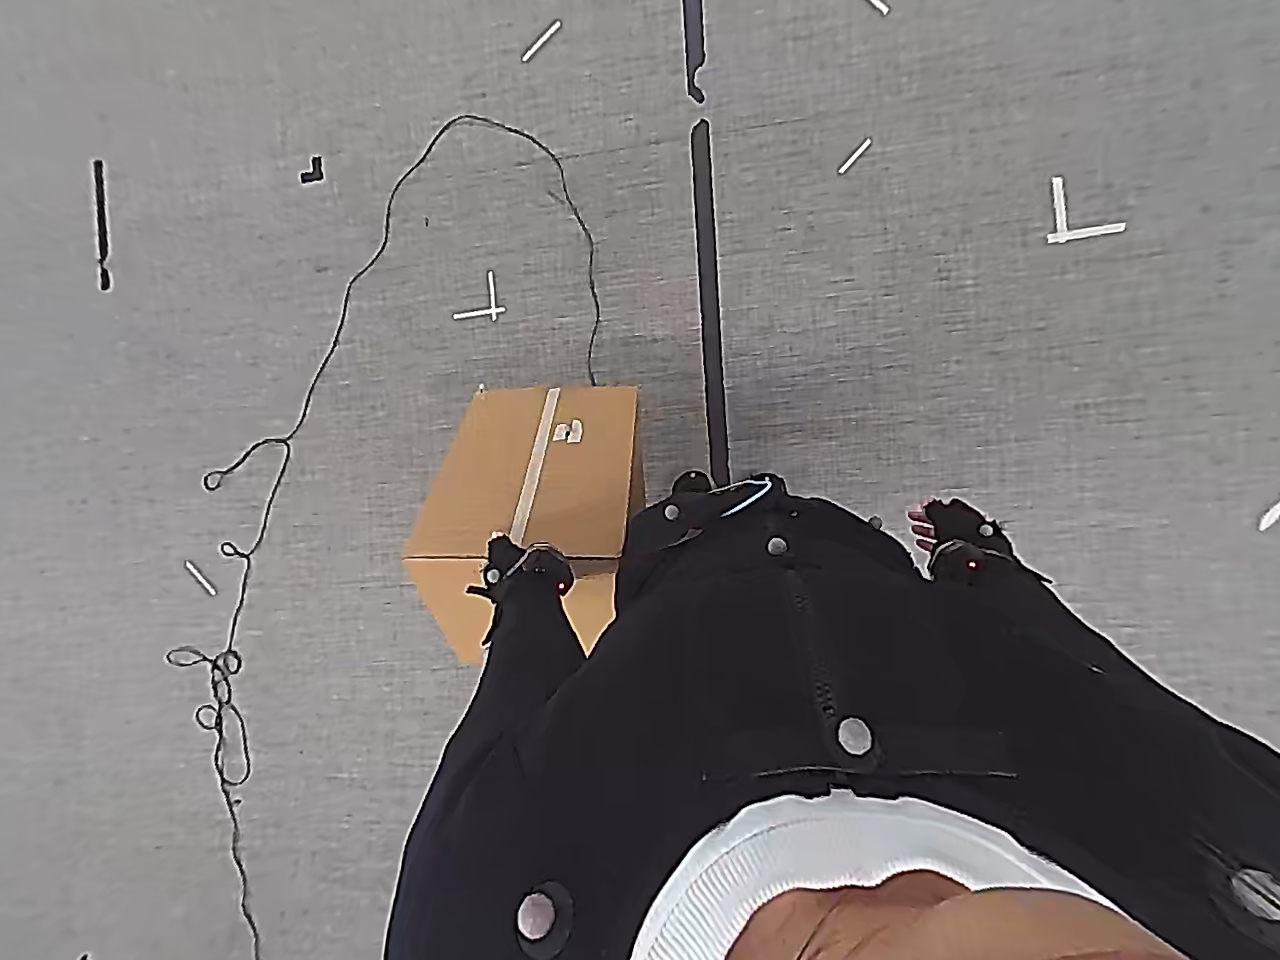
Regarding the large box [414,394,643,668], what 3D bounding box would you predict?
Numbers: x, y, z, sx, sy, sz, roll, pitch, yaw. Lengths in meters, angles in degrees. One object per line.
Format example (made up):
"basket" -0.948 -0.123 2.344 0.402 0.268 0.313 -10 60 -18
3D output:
"large box" -0.157 0.087 0.994 0.320 0.408 0.320 0 133 3
